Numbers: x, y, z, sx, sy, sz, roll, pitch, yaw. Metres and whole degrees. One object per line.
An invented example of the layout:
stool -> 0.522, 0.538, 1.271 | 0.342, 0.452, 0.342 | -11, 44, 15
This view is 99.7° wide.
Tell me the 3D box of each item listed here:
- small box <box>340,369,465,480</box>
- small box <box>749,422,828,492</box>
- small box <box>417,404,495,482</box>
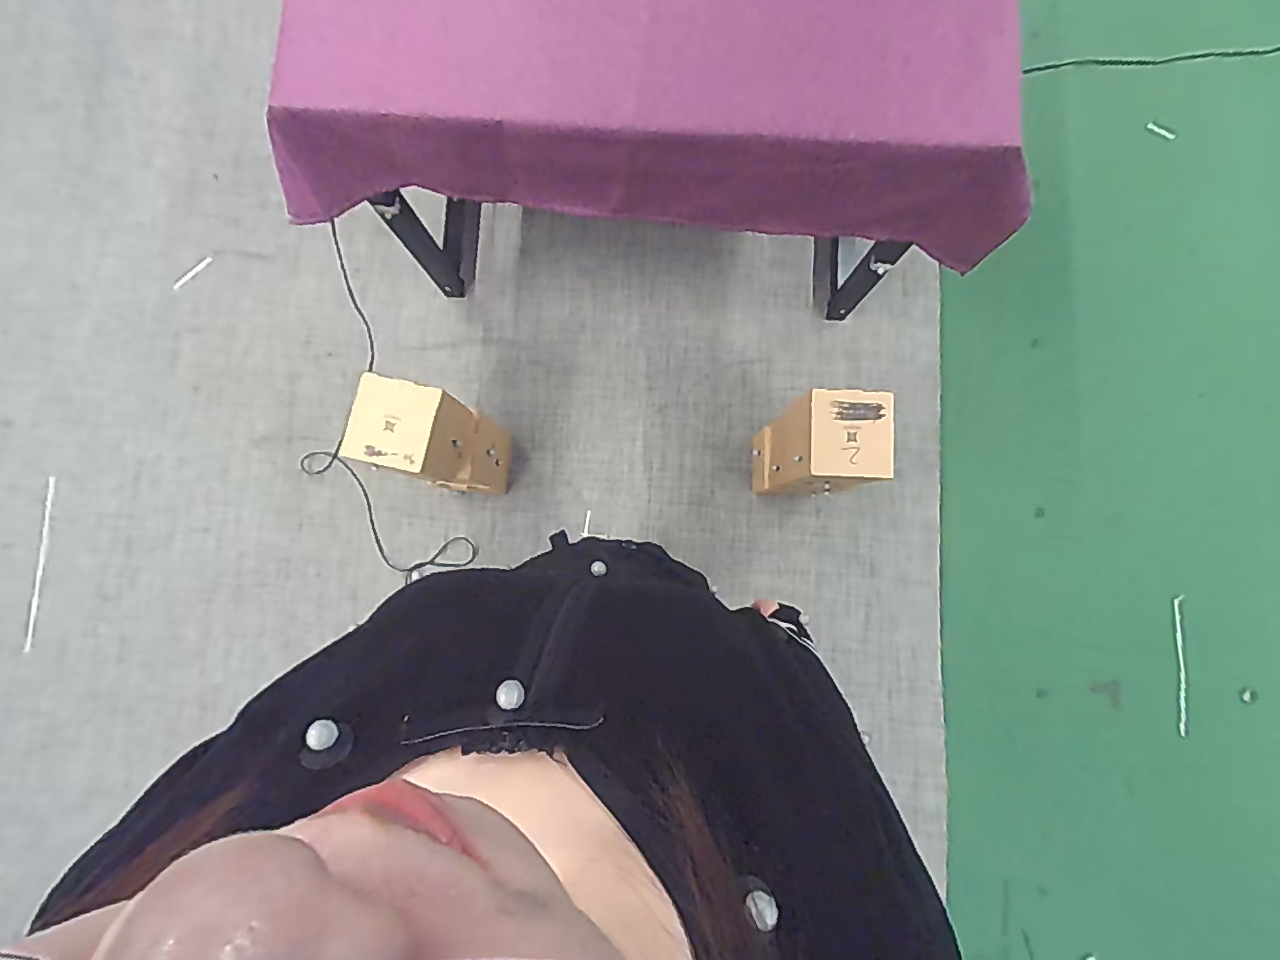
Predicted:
small box -> -0.485, -0.109, 1.136 | 0.168, 0.176, 0.179 | 13, 84, 2
small box -> 0.397, -0.057, 1.469 | 0.179, 0.176, 0.168 | 2, 85, -1
small box -> -0.464, -0.089, 1.299 | 0.179, 0.176, 0.168 | 6, 84, 0
